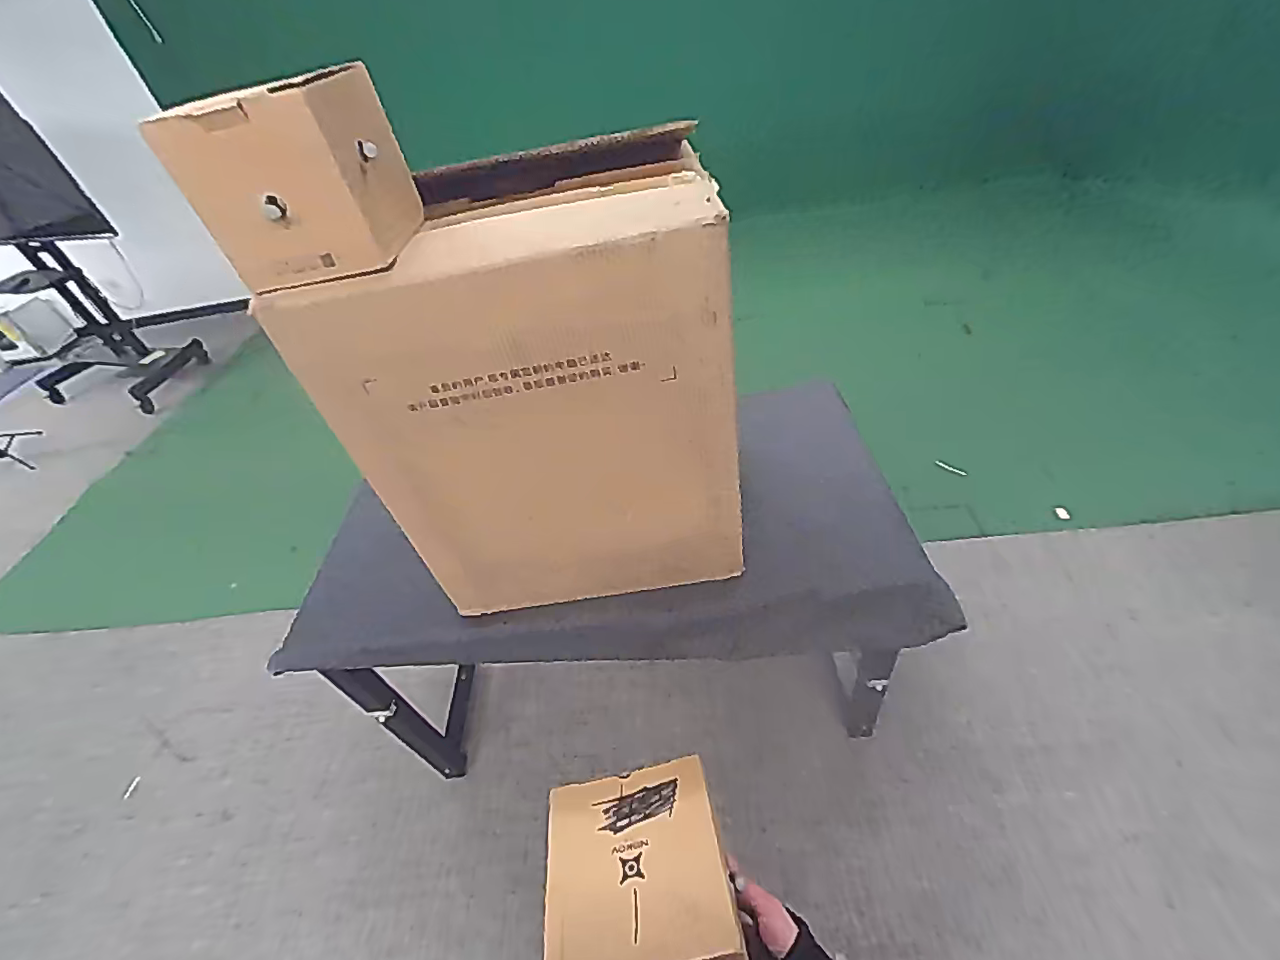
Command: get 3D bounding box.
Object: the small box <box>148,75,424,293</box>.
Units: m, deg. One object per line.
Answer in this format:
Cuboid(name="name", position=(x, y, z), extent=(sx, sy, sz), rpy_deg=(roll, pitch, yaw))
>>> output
Cuboid(name="small box", position=(-0.369, -0.326, 0.610), extent=(0.168, 0.176, 0.179), rpy_deg=(-9, 43, 5))
